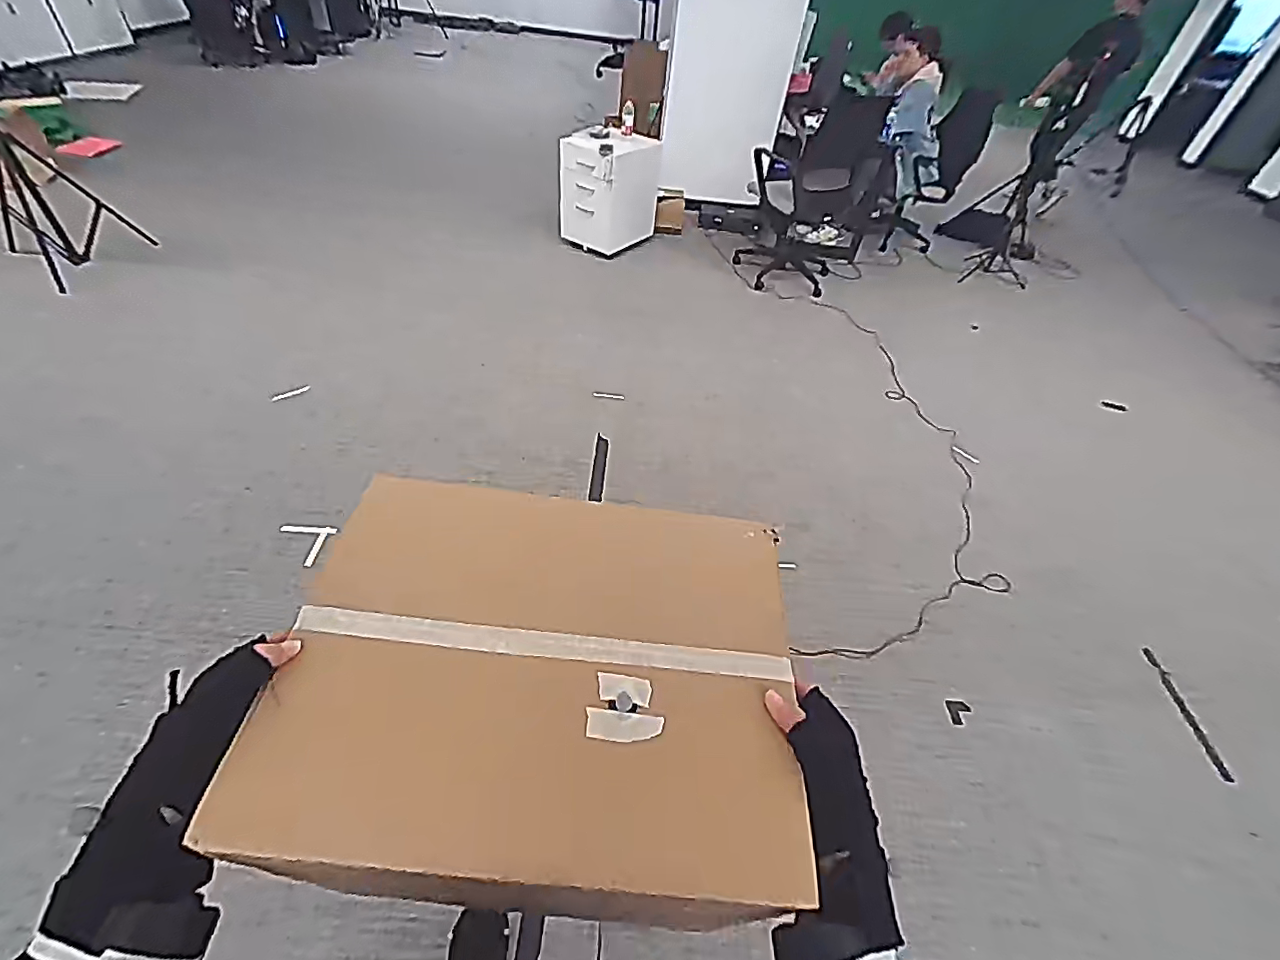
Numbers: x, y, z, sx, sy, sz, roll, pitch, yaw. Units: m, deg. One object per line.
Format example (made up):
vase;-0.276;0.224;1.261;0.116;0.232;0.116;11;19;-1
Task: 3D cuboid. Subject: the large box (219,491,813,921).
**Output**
large box;-0.088;0.243;0.566;0.408;0.320;0.320;7;49;-2
